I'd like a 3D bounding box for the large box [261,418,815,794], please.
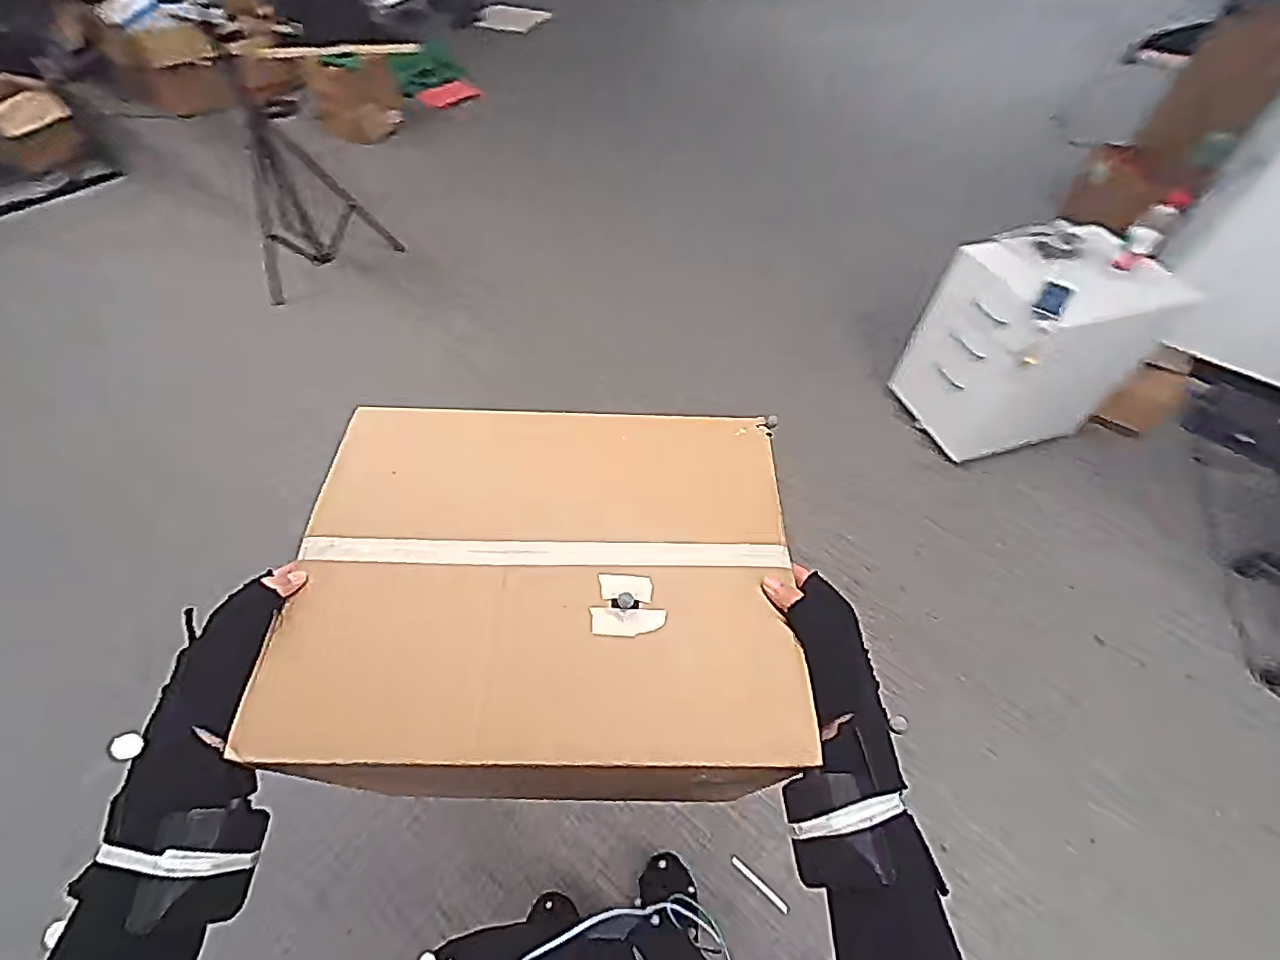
[{"bbox_3d":[-0.076,0.152,0.589,0.408,0.320,0.320,2,57,-2],"label":"large box"}]
